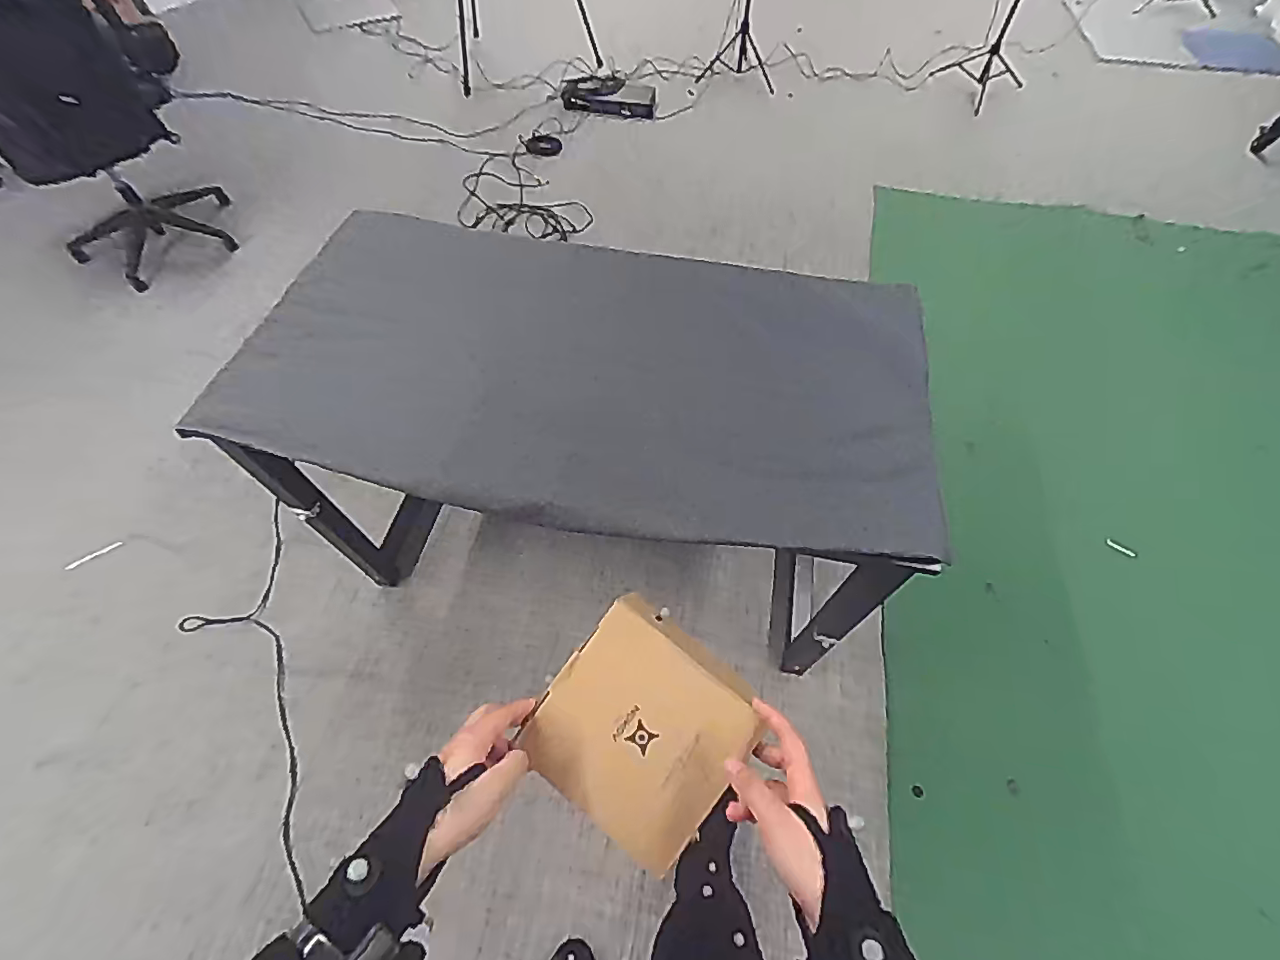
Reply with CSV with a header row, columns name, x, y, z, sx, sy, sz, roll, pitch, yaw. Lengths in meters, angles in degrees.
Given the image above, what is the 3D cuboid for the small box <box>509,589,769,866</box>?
name,x,y,z,sx,sy,sz,roll,pitch,yaw
small box,0.002,0.228,0.556,0.179,0.176,0.168,36,86,8
